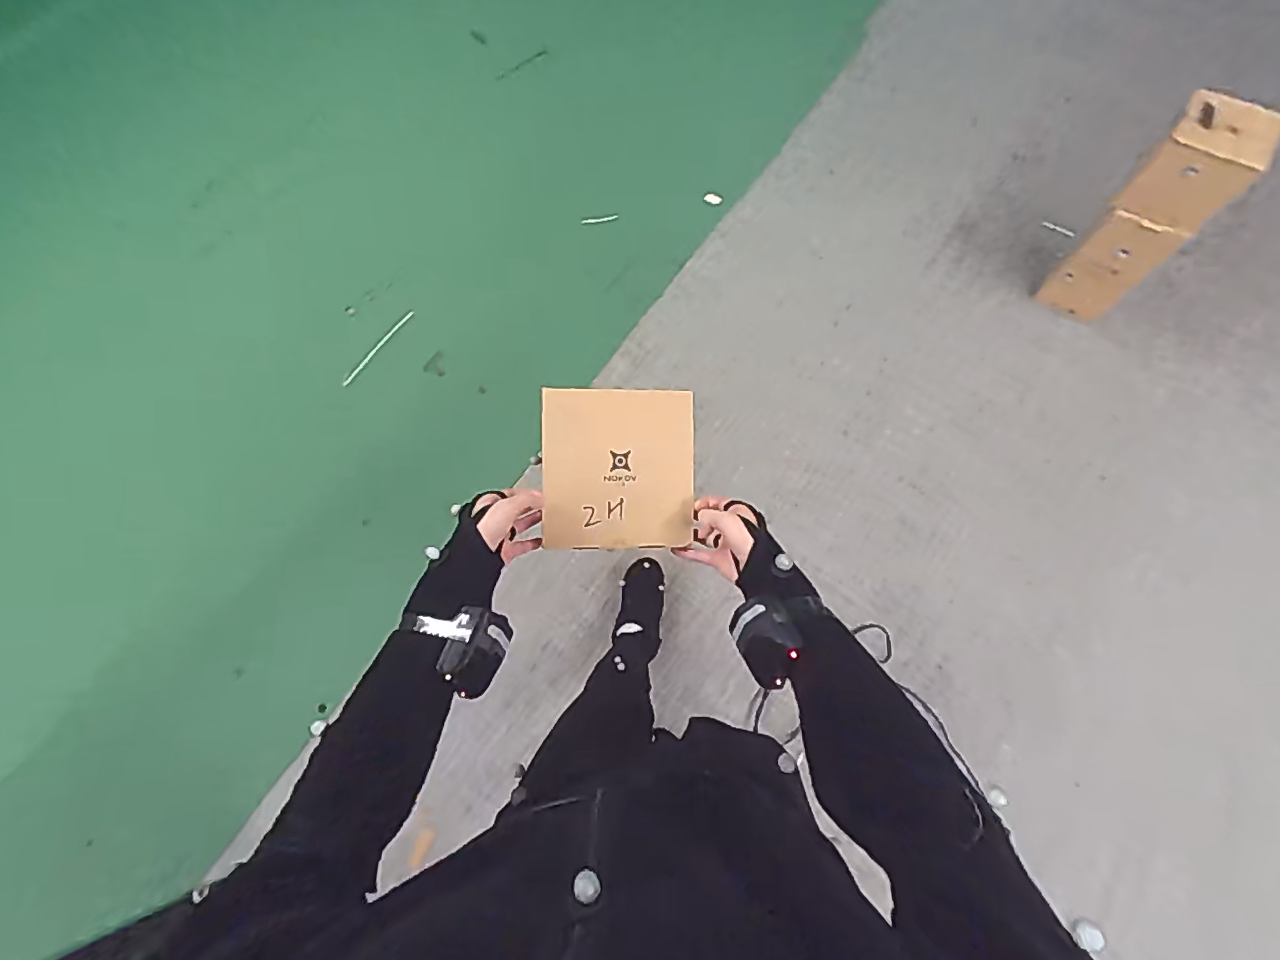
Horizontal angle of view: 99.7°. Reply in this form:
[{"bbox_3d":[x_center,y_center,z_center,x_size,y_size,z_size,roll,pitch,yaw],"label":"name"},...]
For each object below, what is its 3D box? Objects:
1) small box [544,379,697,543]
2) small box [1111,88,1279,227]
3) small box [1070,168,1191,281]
[{"bbox_3d":[-0.030,-0.018,0.662,0.168,0.176,0.179,1,90,-7],"label":"small box"},{"bbox_3d":[1.181,-0.683,1.162,0.179,0.176,0.168,31,77,14],"label":"small box"},{"bbox_3d":[1.199,-0.622,1.314,0.168,0.176,0.179,30,78,14],"label":"small box"}]
